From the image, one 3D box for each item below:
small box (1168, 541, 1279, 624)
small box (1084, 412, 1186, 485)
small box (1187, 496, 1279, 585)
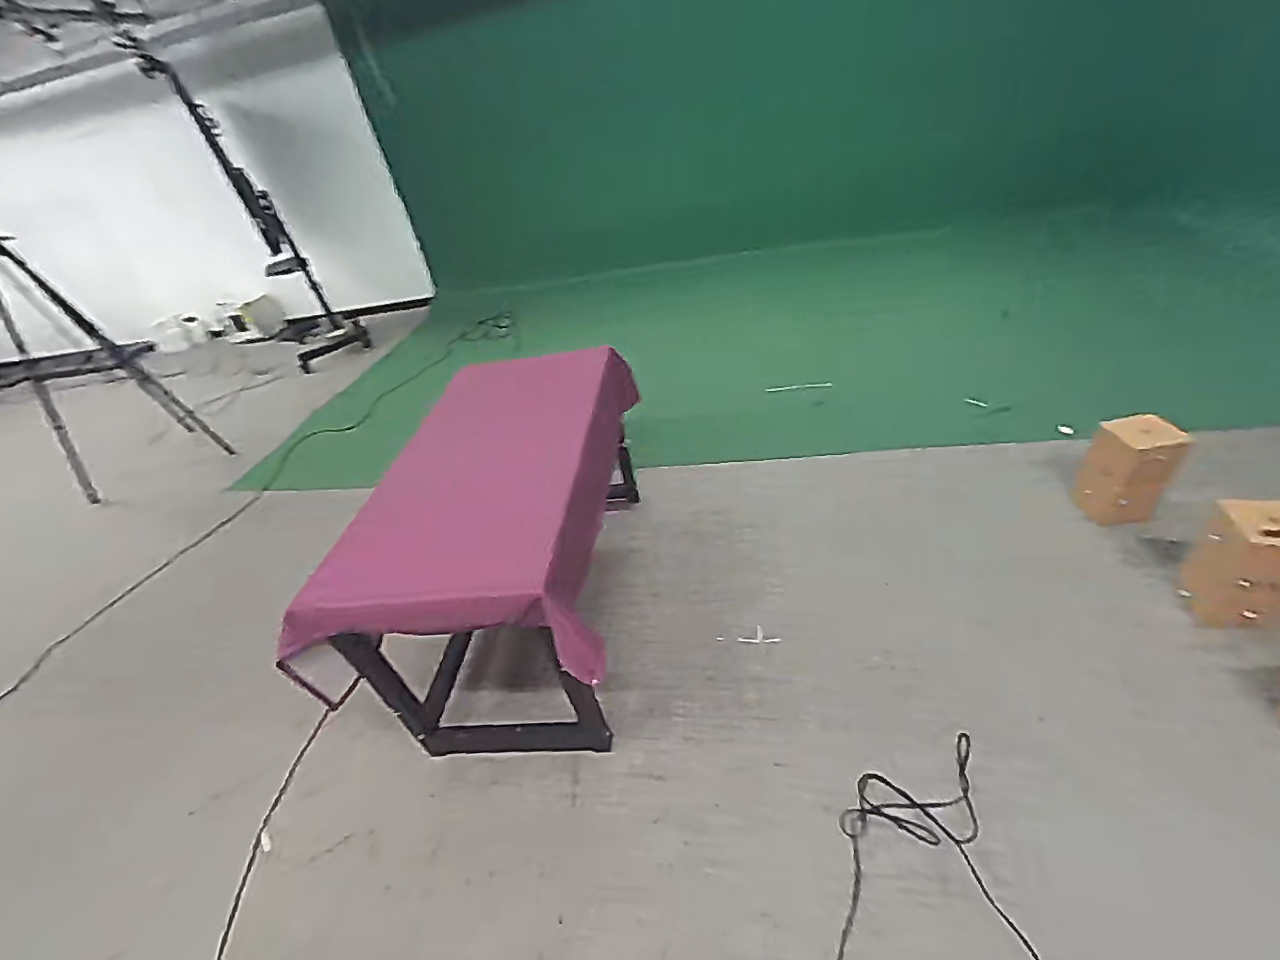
[{"bbox_3d":[1.673,0.290,1.542,0.168,0.176,0.179,1,39,18],"label":"small box"},{"bbox_3d":[1.628,-0.101,1.797,0.179,0.176,0.168,-9,37,4],"label":"small box"},{"bbox_3d":[1.635,0.162,1.446,0.168,0.176,0.179,1,38,18],"label":"small box"}]
